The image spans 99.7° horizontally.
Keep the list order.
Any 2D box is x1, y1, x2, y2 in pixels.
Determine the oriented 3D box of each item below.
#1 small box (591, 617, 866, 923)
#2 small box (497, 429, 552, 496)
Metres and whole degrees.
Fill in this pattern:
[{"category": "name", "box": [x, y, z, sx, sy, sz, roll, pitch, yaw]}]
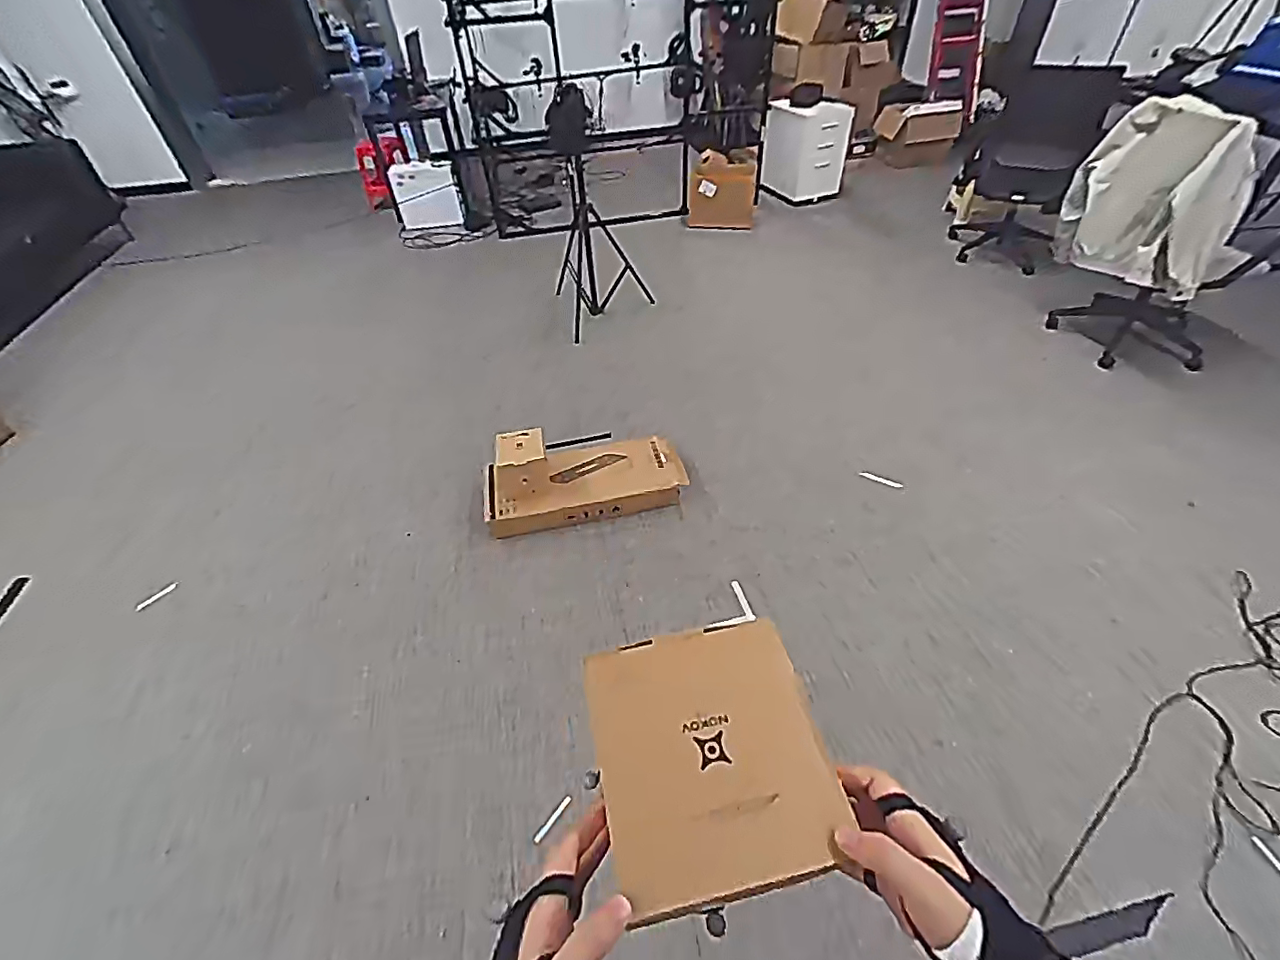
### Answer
[{"category": "small box", "box": [0.052, 0.245, 0.459, 0.168, 0.176, 0.179, -9, 50, -8]}, {"category": "small box", "box": [-0.416, -0.057, 1.948, 0.168, 0.176, 0.179, -9, 45, -6]}]
